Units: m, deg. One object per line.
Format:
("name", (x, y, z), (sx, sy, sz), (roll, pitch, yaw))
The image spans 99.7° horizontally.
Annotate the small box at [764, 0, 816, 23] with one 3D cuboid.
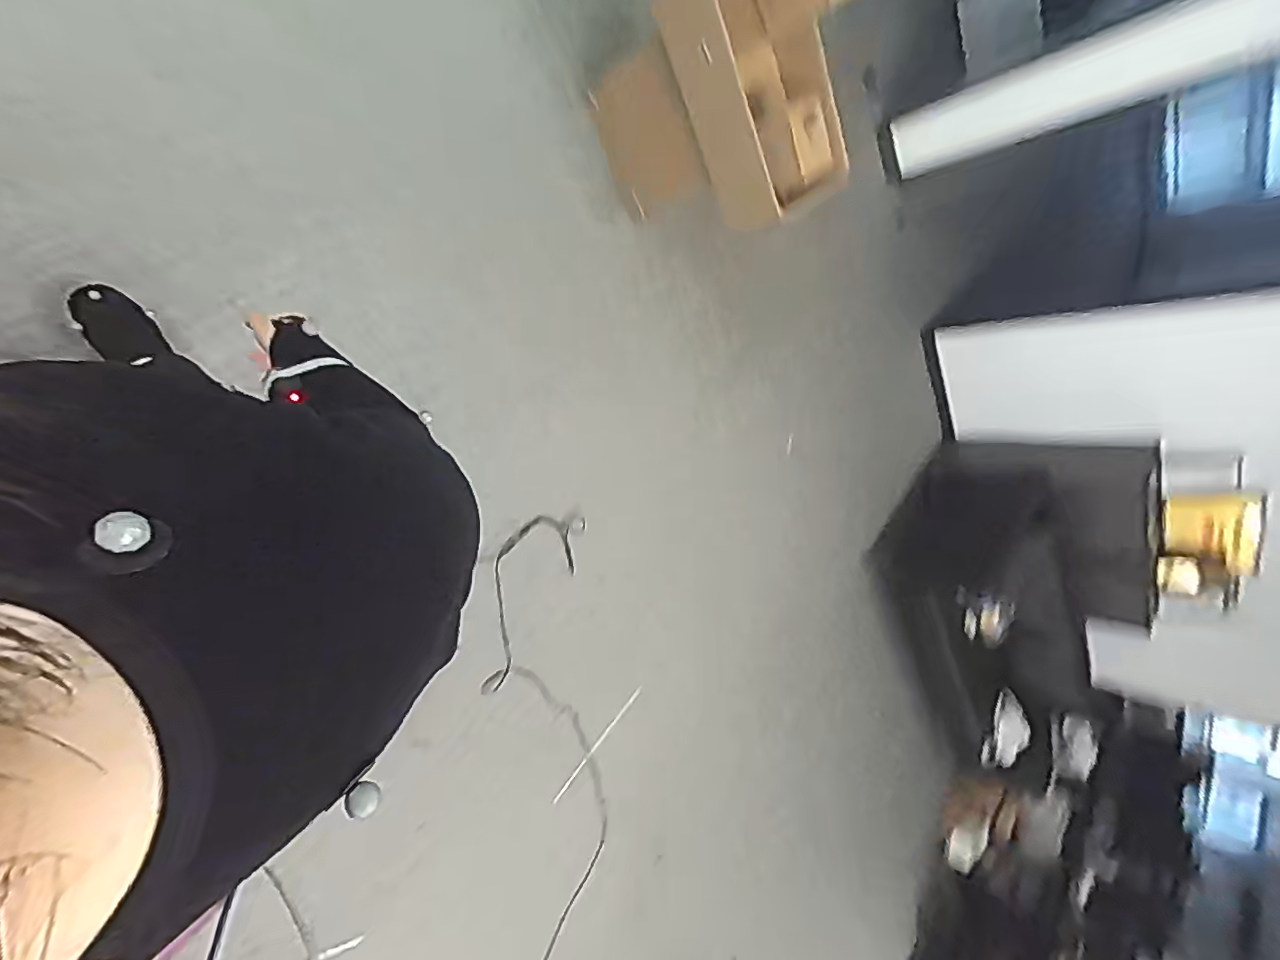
("small box", (0.376, -1.187, 1.222), (0.179, 0.176, 0.168), (-48, 124, -26))
